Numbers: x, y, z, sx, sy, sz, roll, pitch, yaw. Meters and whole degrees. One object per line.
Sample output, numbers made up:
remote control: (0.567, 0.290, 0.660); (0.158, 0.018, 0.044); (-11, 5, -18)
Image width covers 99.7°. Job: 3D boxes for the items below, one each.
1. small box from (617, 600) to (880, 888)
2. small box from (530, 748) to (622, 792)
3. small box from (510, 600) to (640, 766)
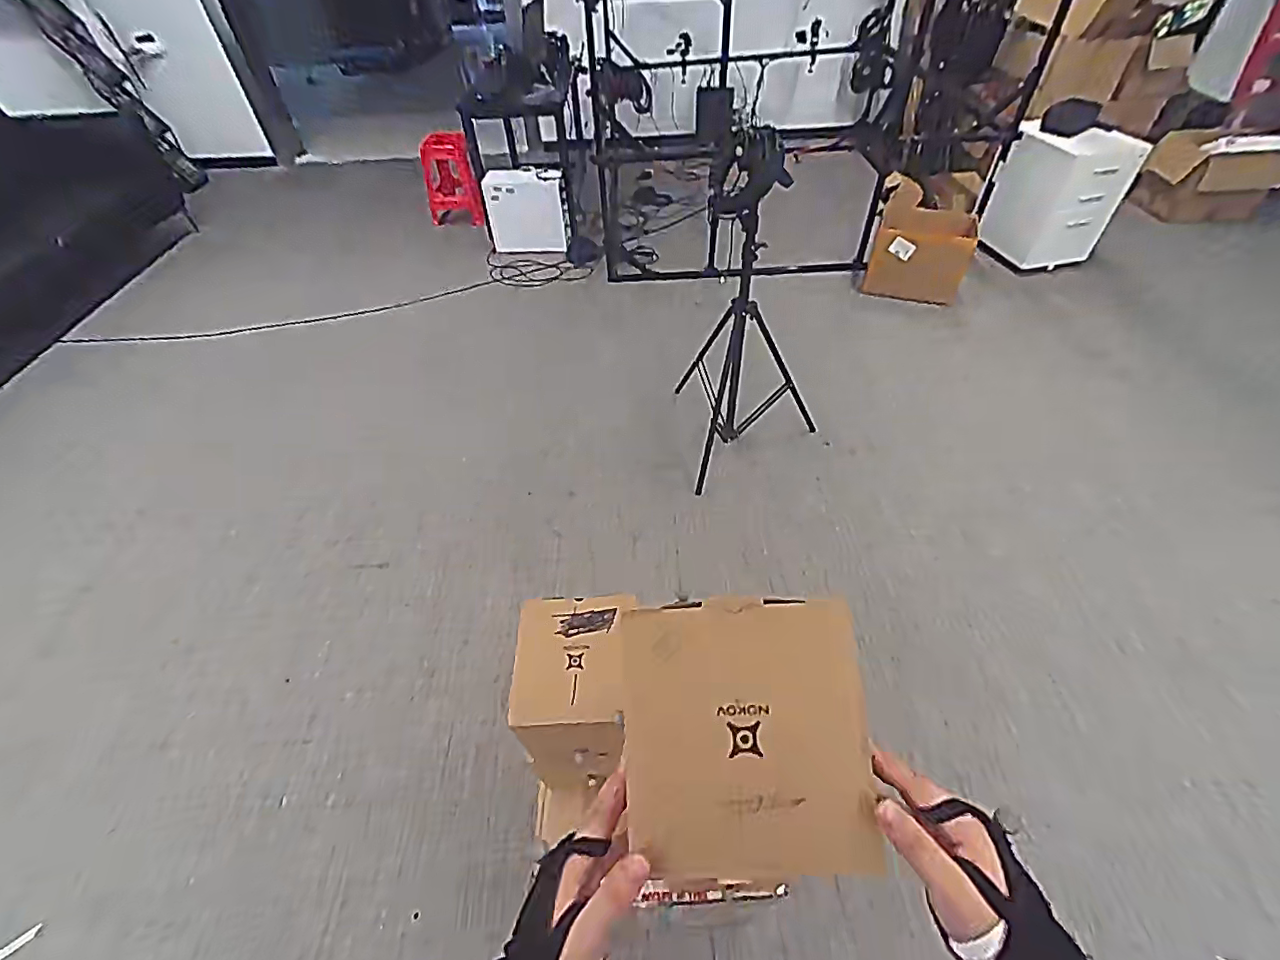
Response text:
small box: (0.073, 0.192, 0.441); (0.168, 0.176, 0.179); (-4, 78, 5)
small box: (-0.082, 0.398, 0.902); (0.168, 0.176, 0.179); (-7, 49, 0)
small box: (-0.077, 0.292, 0.776); (0.168, 0.176, 0.179); (-4, 49, 2)
